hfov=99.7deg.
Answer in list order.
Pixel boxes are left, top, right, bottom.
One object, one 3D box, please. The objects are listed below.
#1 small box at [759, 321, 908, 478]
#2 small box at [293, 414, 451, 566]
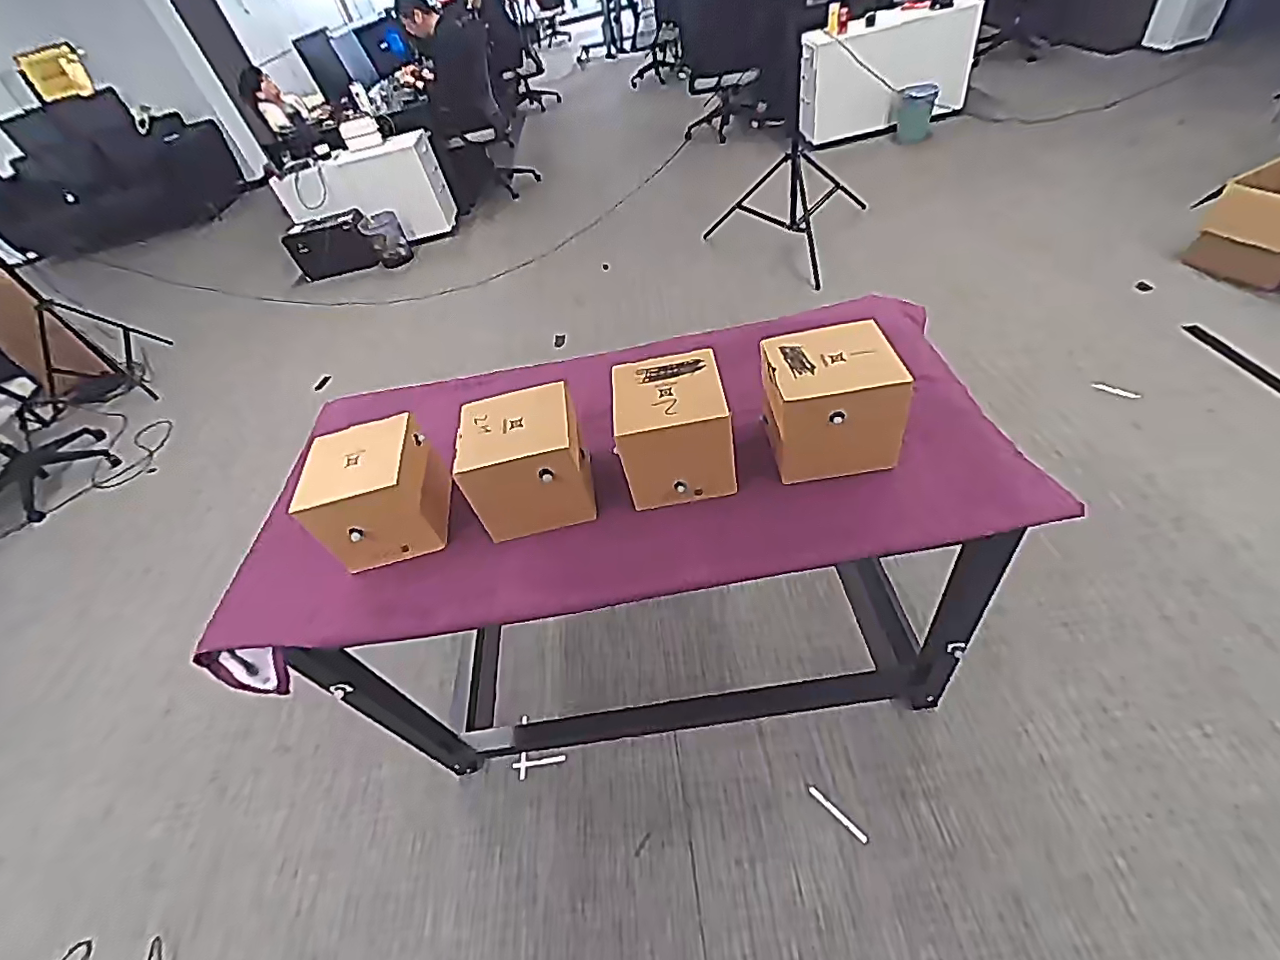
[{"bbox_3d":[0.290,-0.120,0.844,0.179,0.176,0.168,-9,45,6],"label":"small box"},{"bbox_3d":[-0.430,0.024,0.903,0.168,0.176,0.179,-16,45,0],"label":"small box"}]
